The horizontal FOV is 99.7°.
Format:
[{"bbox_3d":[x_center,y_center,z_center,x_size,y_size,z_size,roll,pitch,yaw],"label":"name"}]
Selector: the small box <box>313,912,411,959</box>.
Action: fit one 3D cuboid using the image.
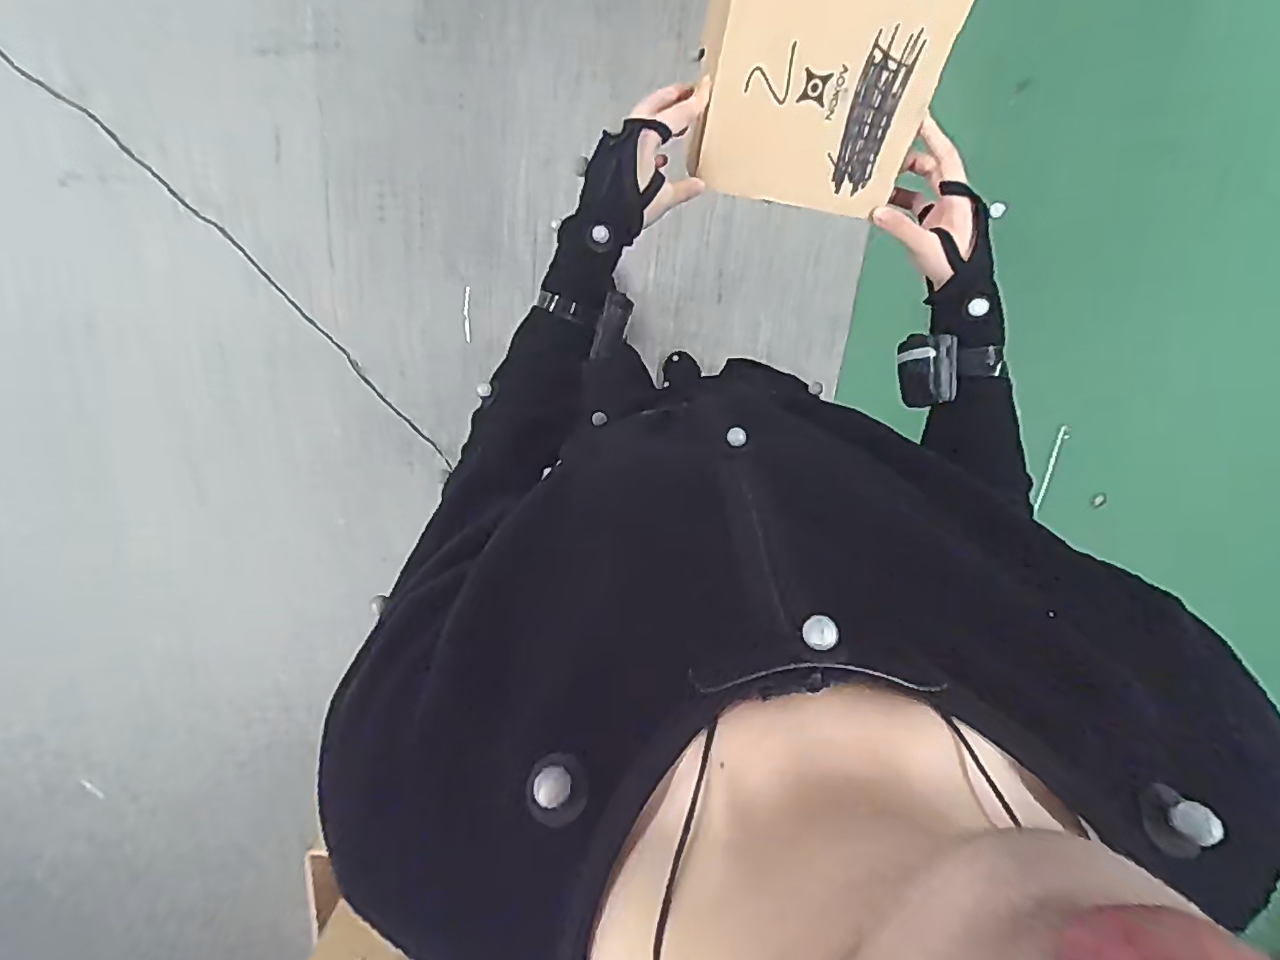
[{"bbox_3d":[-0.609,1.071,1.154,0.179,0.176,0.168,10,106,-2],"label":"small box"}]
